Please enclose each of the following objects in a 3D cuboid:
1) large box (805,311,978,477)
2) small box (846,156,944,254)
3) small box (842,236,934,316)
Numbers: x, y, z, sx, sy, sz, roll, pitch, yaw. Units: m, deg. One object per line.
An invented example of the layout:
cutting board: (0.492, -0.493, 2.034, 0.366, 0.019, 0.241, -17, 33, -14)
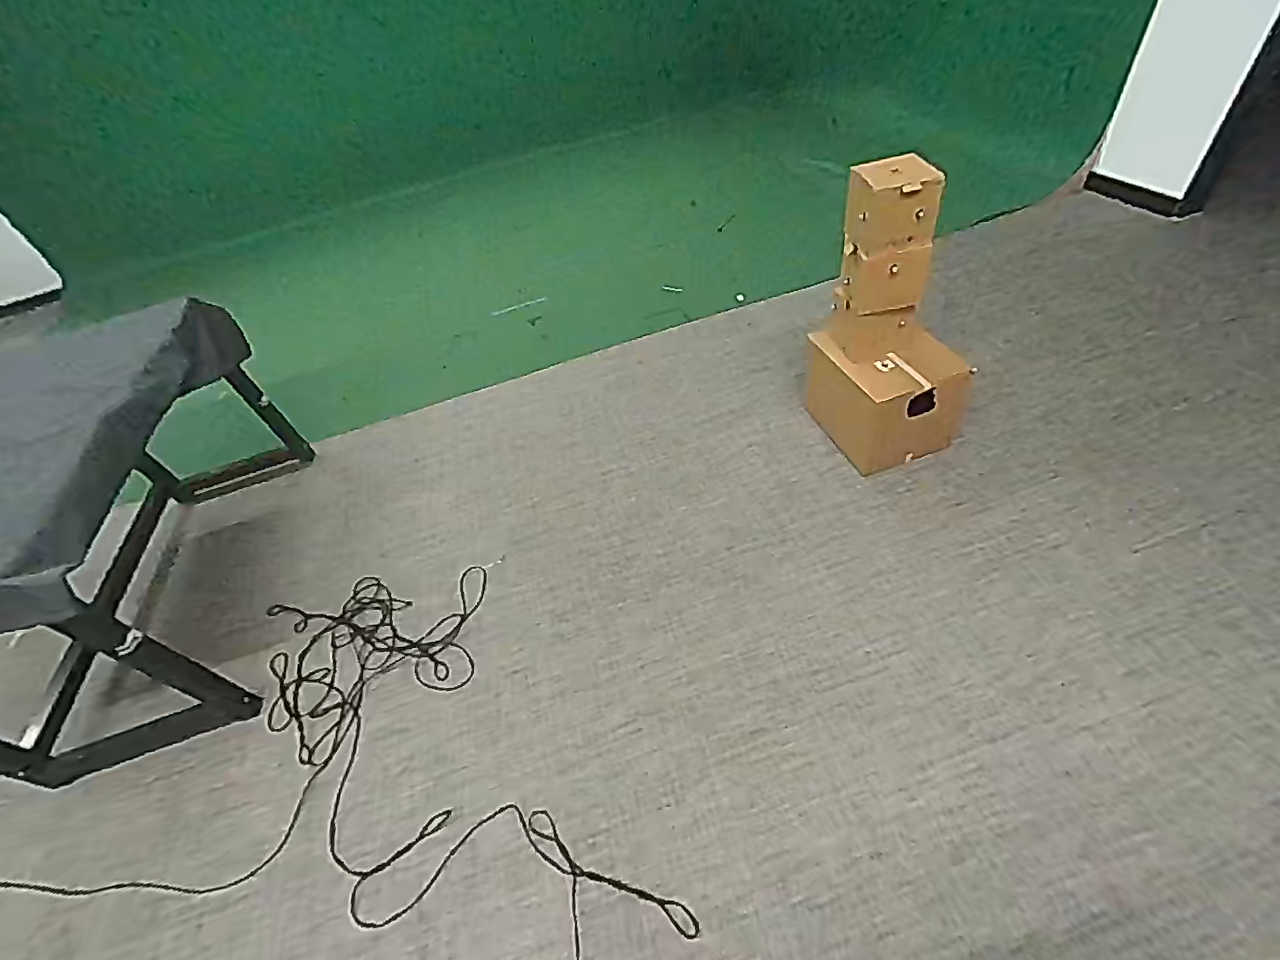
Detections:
large box: (0.781, -0.283, 1.760, 0.320, 0.320, 0.408, -20, 48, -4)
small box: (0.646, -0.700, 1.391, 0.168, 0.176, 0.179, -11, 46, 3)
small box: (0.677, -0.581, 1.498, 0.179, 0.176, 0.168, -9, 47, 6)
